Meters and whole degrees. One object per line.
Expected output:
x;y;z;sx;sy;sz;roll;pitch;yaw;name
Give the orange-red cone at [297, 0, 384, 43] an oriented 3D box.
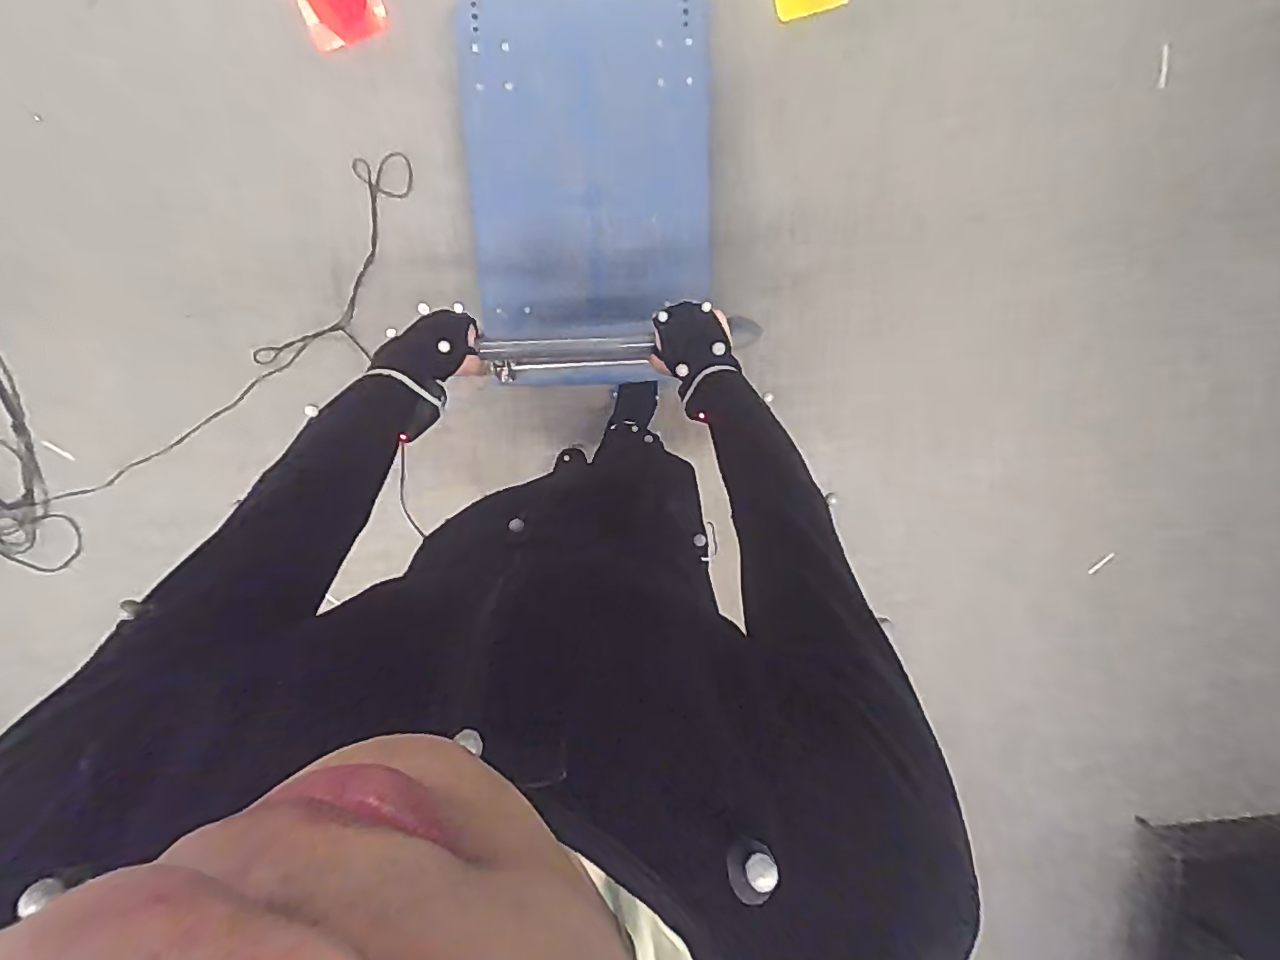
-0.746;-1.172;1.164;0.199;0.360;0.198;-18;101;3;orange-red cone
